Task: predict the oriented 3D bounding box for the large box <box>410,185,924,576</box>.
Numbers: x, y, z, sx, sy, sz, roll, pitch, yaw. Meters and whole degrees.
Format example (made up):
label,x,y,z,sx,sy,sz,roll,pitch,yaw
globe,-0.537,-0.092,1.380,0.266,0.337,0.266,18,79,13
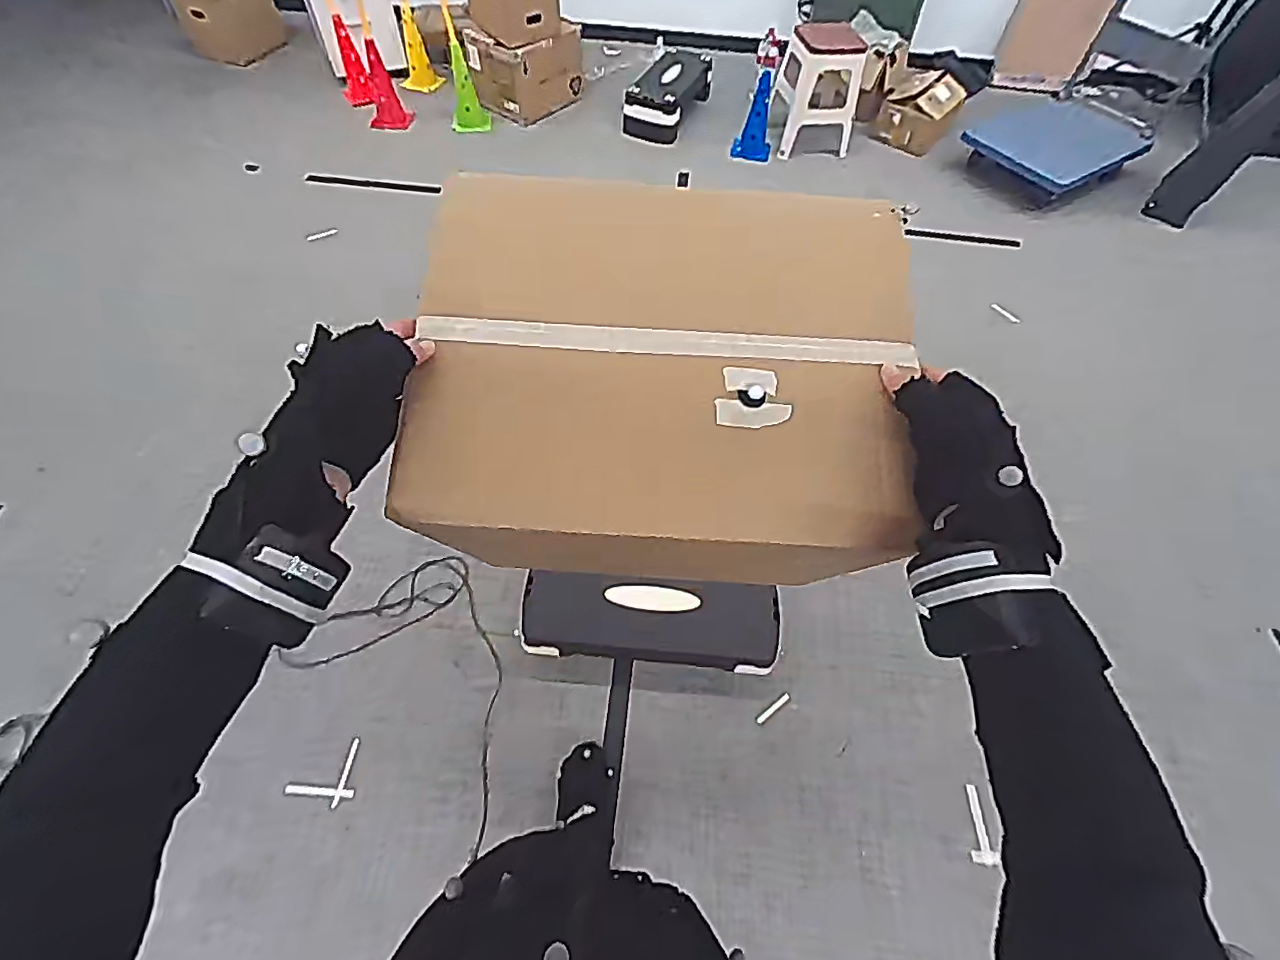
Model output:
label,x,y,z,sx,sy,sz,roll,pitch,yaw
large box,0.021,-0.070,0.594,0.408,0.320,0.320,4,75,-1
